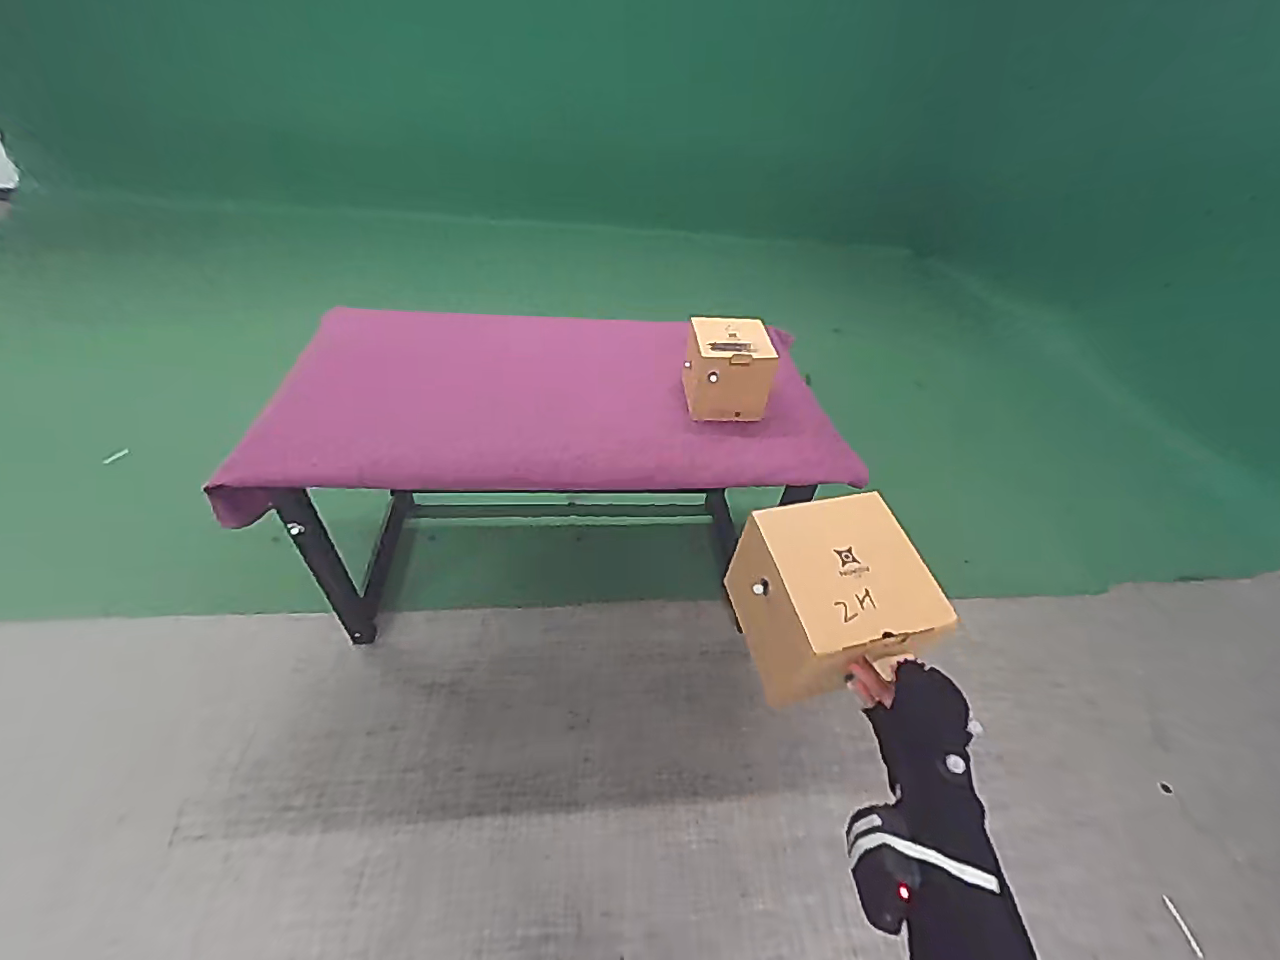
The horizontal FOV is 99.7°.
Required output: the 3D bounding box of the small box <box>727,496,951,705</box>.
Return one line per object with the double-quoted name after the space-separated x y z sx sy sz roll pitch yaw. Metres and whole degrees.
0.217 0.145 0.651 0.168 0.176 0.179 -8 53 -11 "small box"
